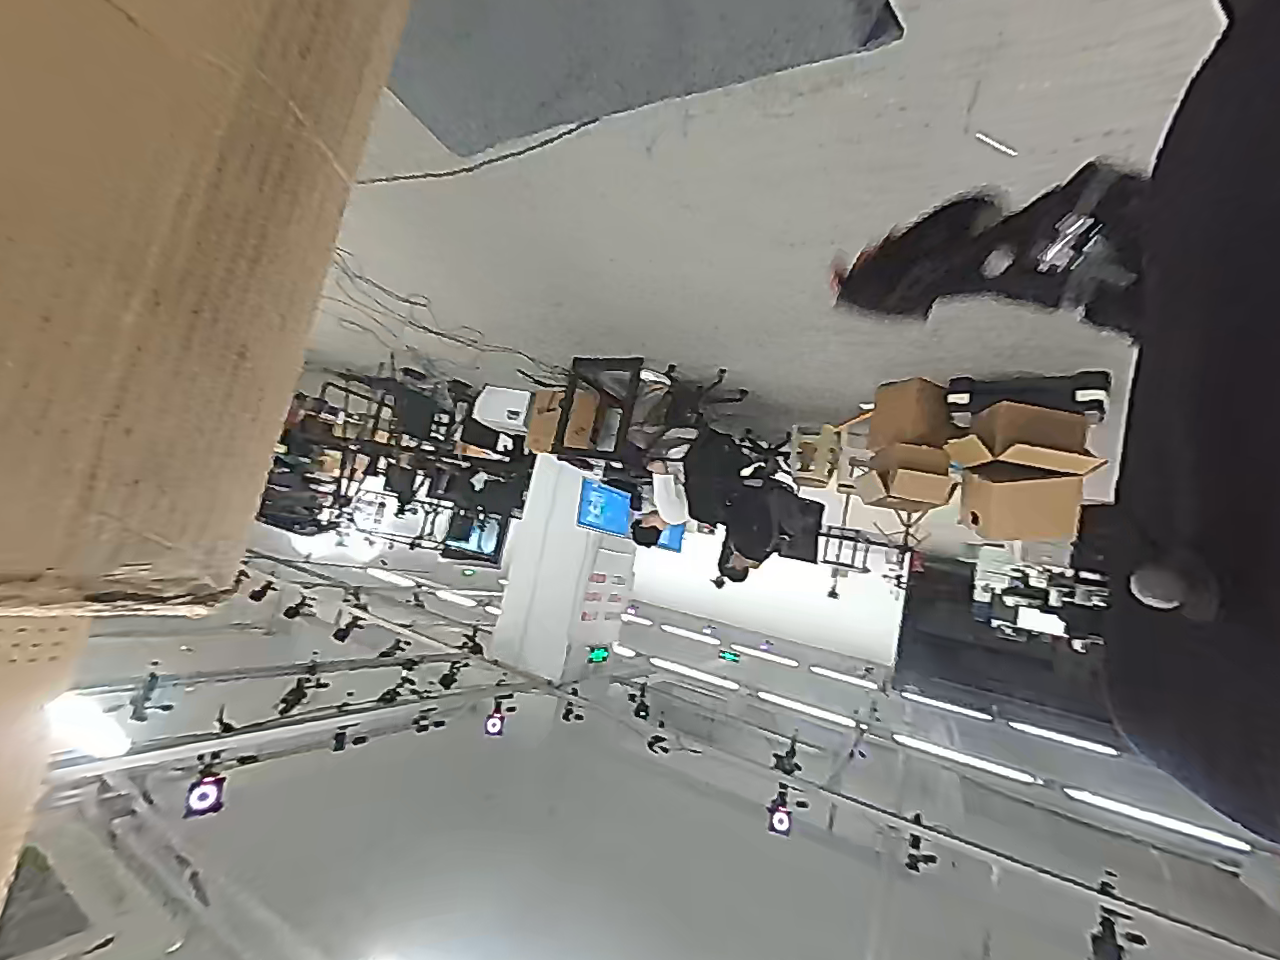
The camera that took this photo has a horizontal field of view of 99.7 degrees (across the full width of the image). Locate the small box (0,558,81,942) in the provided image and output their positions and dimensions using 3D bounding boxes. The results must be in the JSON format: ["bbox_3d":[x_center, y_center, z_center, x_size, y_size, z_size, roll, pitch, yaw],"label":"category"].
[{"bbox_3d":[-0.367,0.108,0.204,0.179,0.176,0.168,4,169,29],"label":"small box"}]
